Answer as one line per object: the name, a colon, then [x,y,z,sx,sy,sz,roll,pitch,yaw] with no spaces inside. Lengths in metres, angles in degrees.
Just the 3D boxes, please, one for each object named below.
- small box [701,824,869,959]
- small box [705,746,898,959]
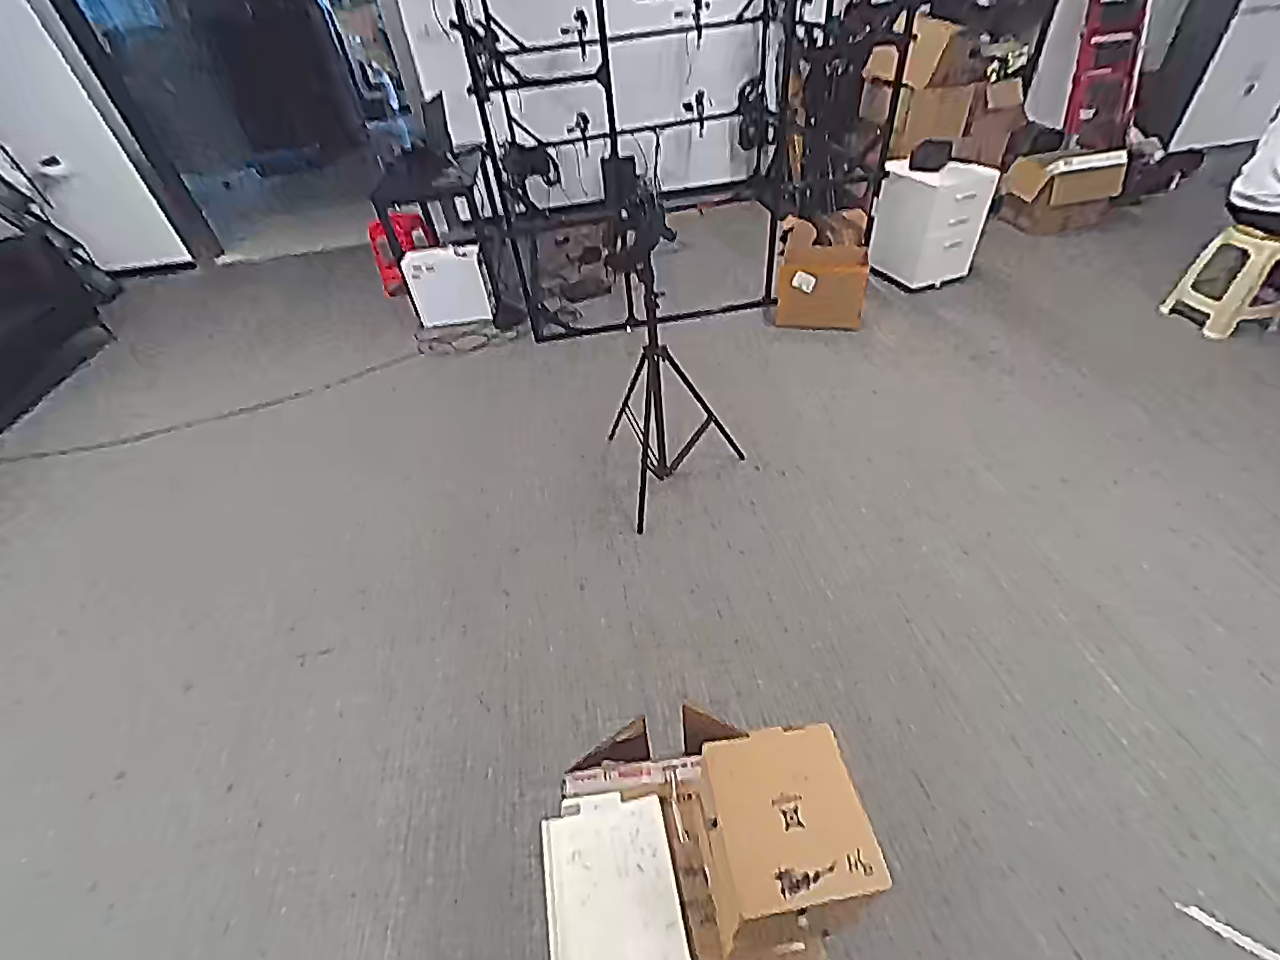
small box: [0.192,0.587,0.774,0.179,0.176,0.168,-10,43,-5]
small box: [0.179,0.462,0.668,0.168,0.176,0.179,-8,43,-4]
